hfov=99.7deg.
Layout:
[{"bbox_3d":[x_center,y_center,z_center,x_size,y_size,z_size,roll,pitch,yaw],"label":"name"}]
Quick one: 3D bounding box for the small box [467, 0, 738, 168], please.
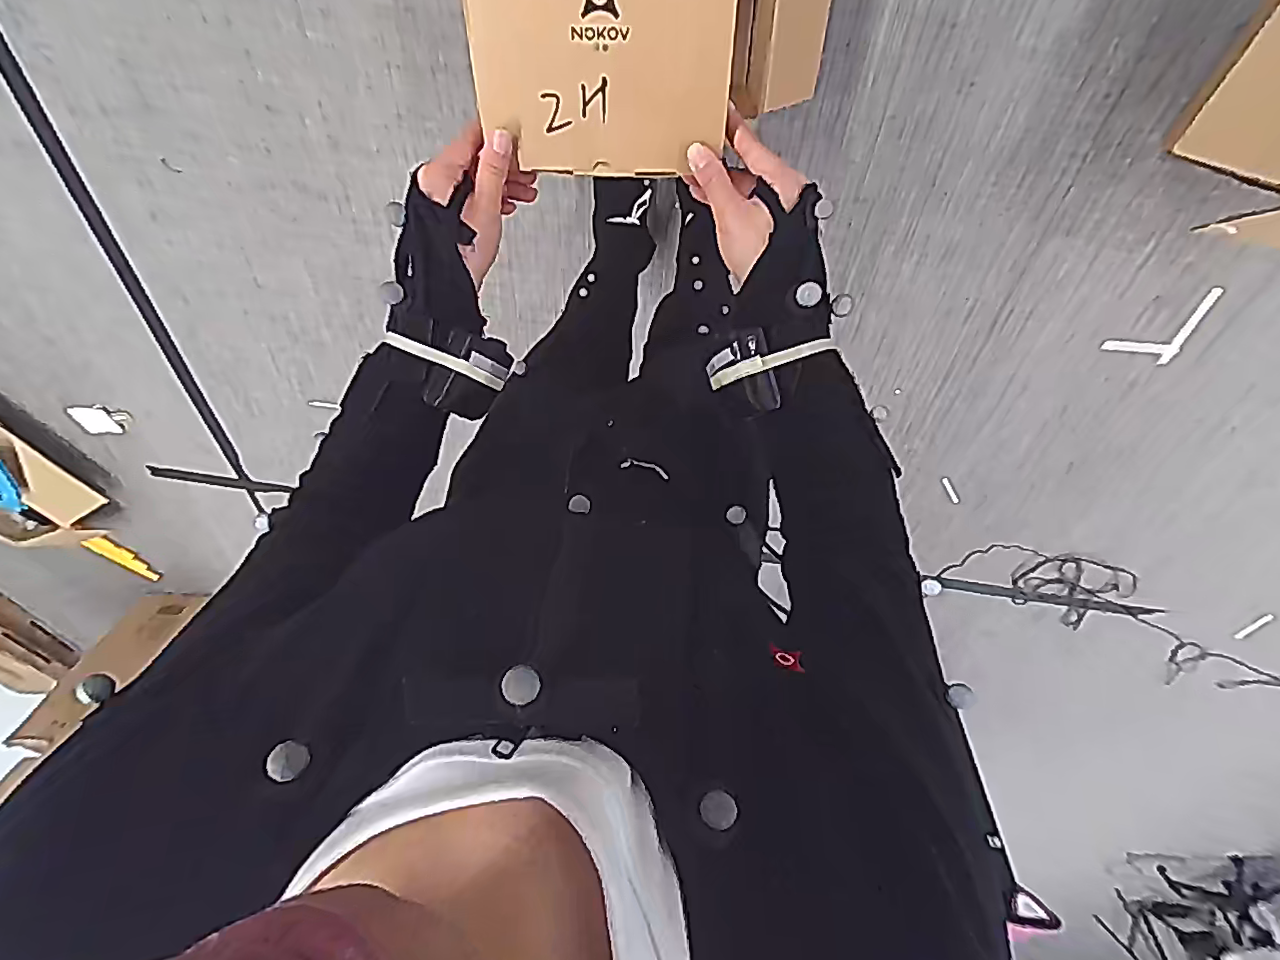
[{"bbox_3d":[-0.018,-0.339,0.383,0.168,0.176,0.179,4,131,3],"label":"small box"}]
